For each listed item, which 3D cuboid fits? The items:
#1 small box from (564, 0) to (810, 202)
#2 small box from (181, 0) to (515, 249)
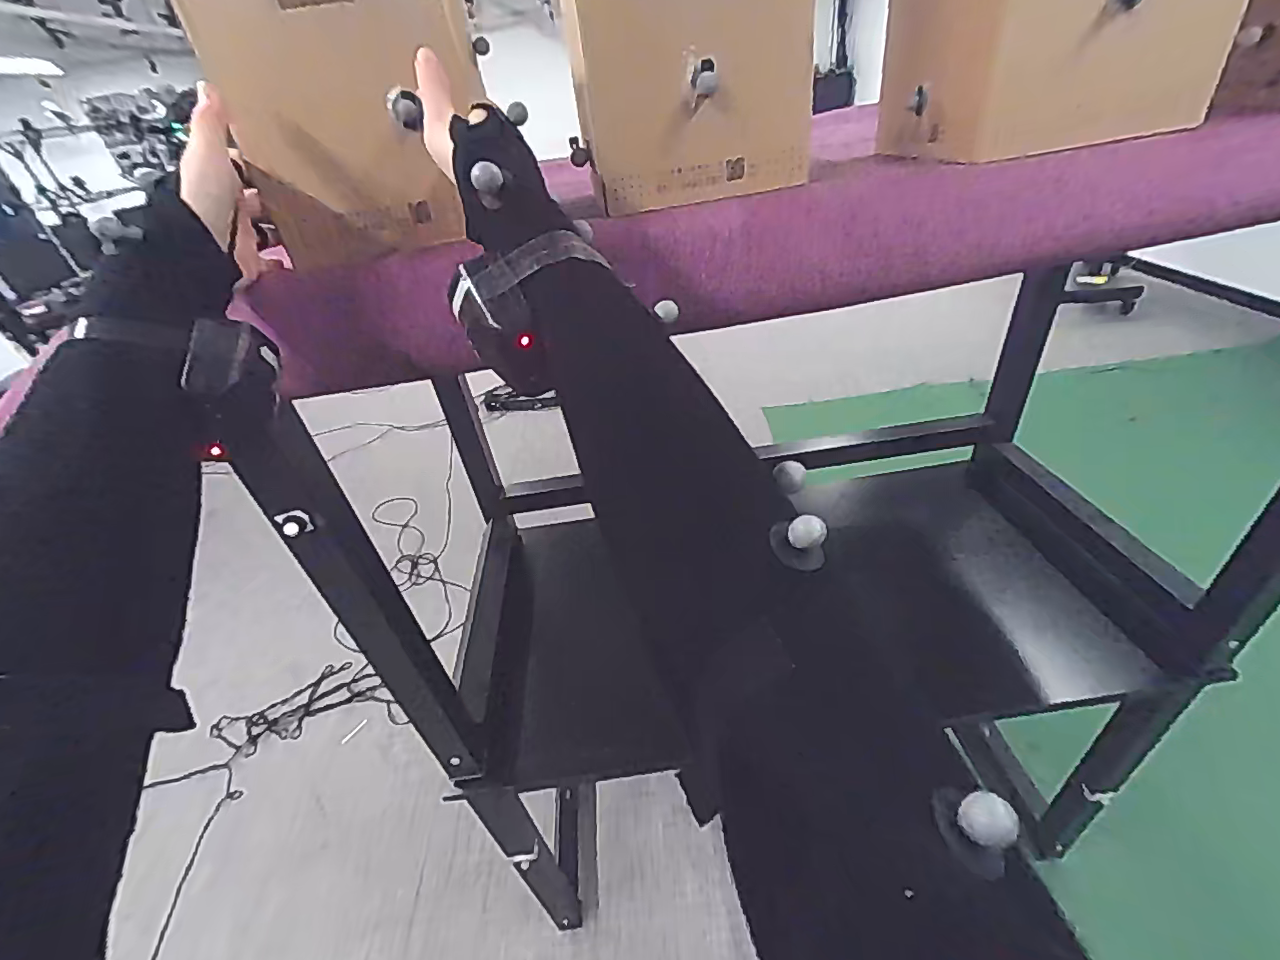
[{"bbox_3d":[0.034,-0.339,0.447,0.168,0.176,0.179,-10,36,-3],"label":"small box"},{"bbox_3d":[-0.203,-0.297,0.440,0.168,0.176,0.179,-11,35,-4],"label":"small box"}]
